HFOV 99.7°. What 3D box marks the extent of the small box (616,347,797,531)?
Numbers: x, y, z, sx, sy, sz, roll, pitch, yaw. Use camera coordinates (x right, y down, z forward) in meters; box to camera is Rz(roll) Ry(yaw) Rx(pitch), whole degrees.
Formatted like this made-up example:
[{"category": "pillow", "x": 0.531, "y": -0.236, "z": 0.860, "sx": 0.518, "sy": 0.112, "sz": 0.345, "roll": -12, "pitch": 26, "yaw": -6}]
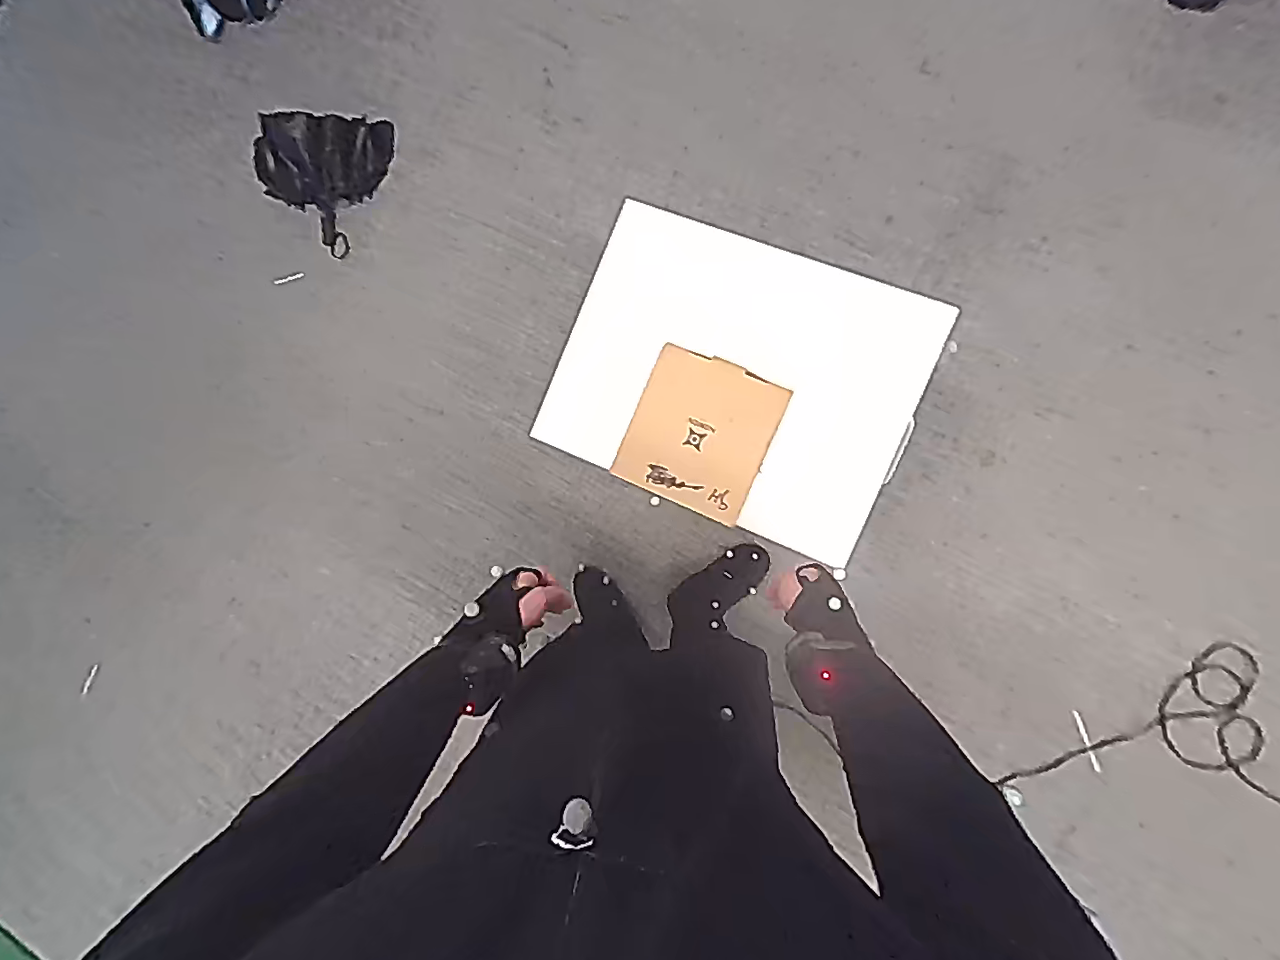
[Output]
[{"category": "small box", "x": 0.089, "y": -0.046, "z": 0.721, "sx": 0.168, "sy": 0.176, "sz": 0.179, "roll": 24, "pitch": 91, "yaw": 11}]
